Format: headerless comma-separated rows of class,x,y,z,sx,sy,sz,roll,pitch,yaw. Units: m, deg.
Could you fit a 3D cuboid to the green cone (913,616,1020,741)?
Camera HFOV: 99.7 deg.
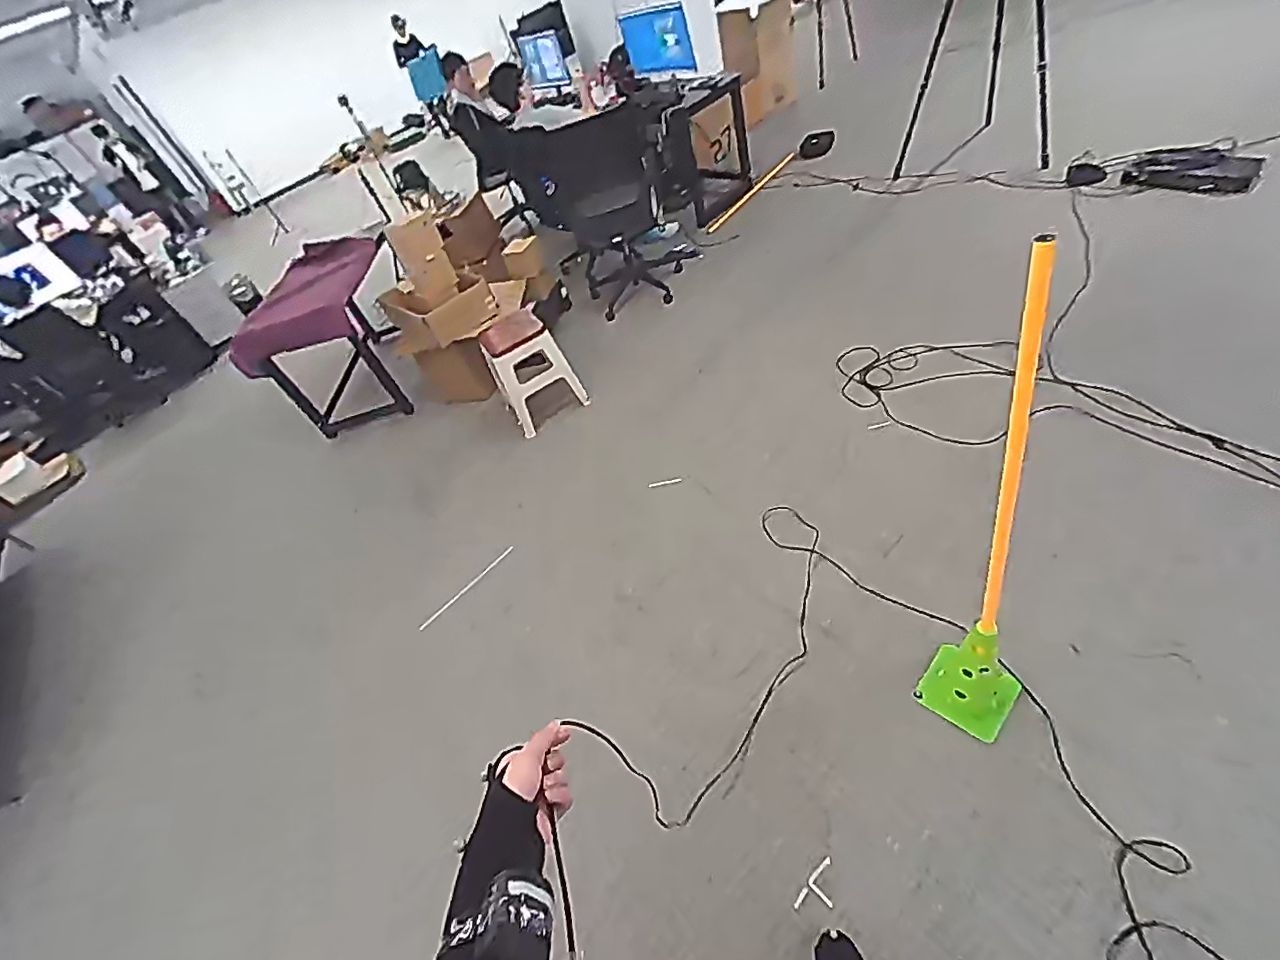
green cone,0.815,0.440,1.308,0.200,0.368,0.202,27,61,38
